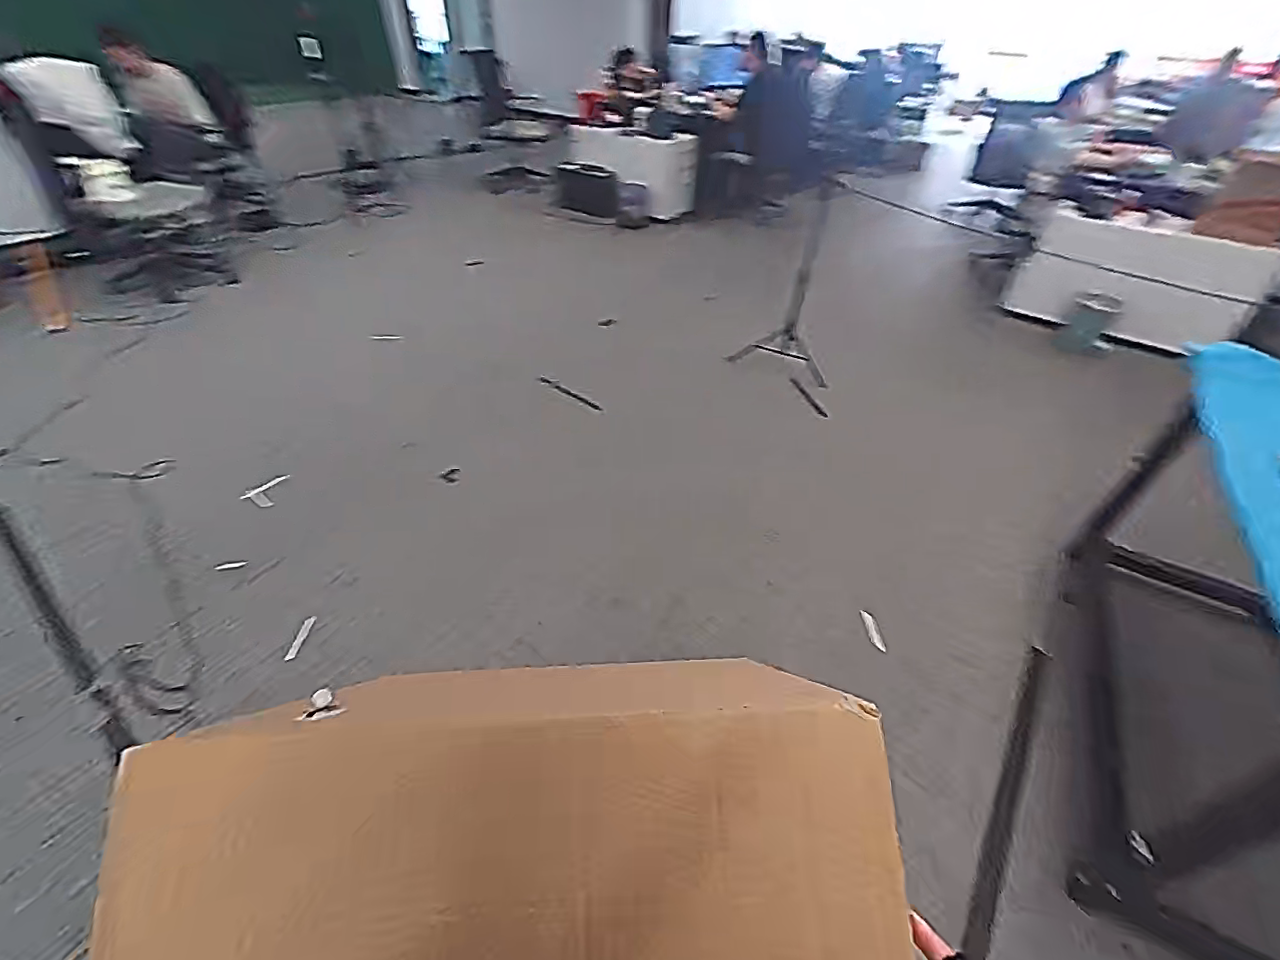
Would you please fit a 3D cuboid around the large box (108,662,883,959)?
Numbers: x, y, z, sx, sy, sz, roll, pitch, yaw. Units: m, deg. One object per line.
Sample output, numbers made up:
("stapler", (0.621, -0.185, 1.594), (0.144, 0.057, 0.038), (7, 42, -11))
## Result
("large box", (-0.074, 0.326, 0.413), (0.408, 0.320, 0.320), (-4, 77, -4))
